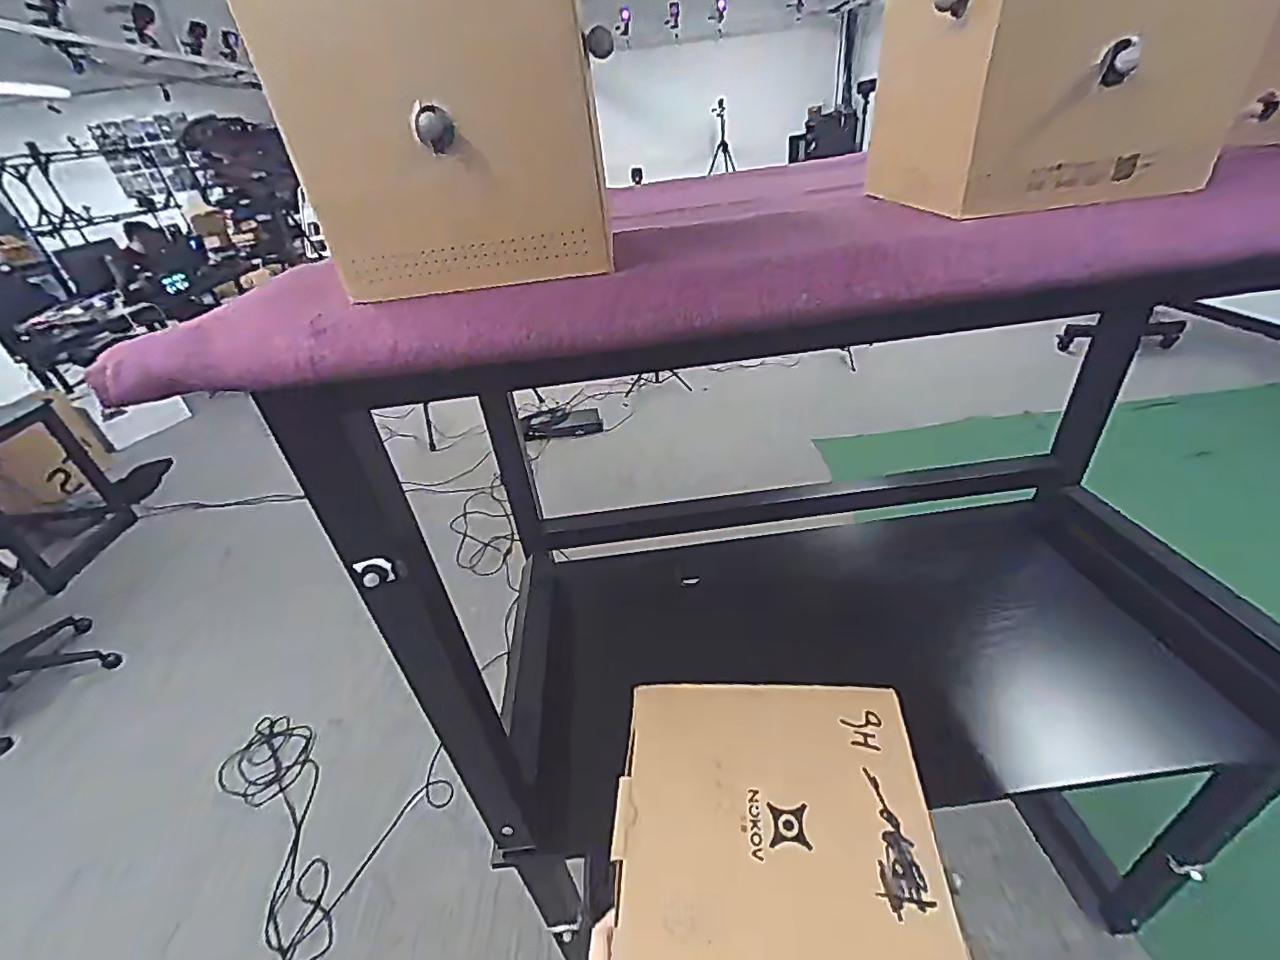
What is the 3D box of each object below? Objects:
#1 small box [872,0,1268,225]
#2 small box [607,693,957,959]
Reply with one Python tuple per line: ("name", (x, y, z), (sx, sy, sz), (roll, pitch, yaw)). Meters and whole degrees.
("small box", (0.291, -0.291, 0.396), (0.168, 0.176, 0.179), (-5, 33, 1))
("small box", (0.086, 0.263, 0.367), (0.179, 0.176, 0.168), (-2, 44, 9))
